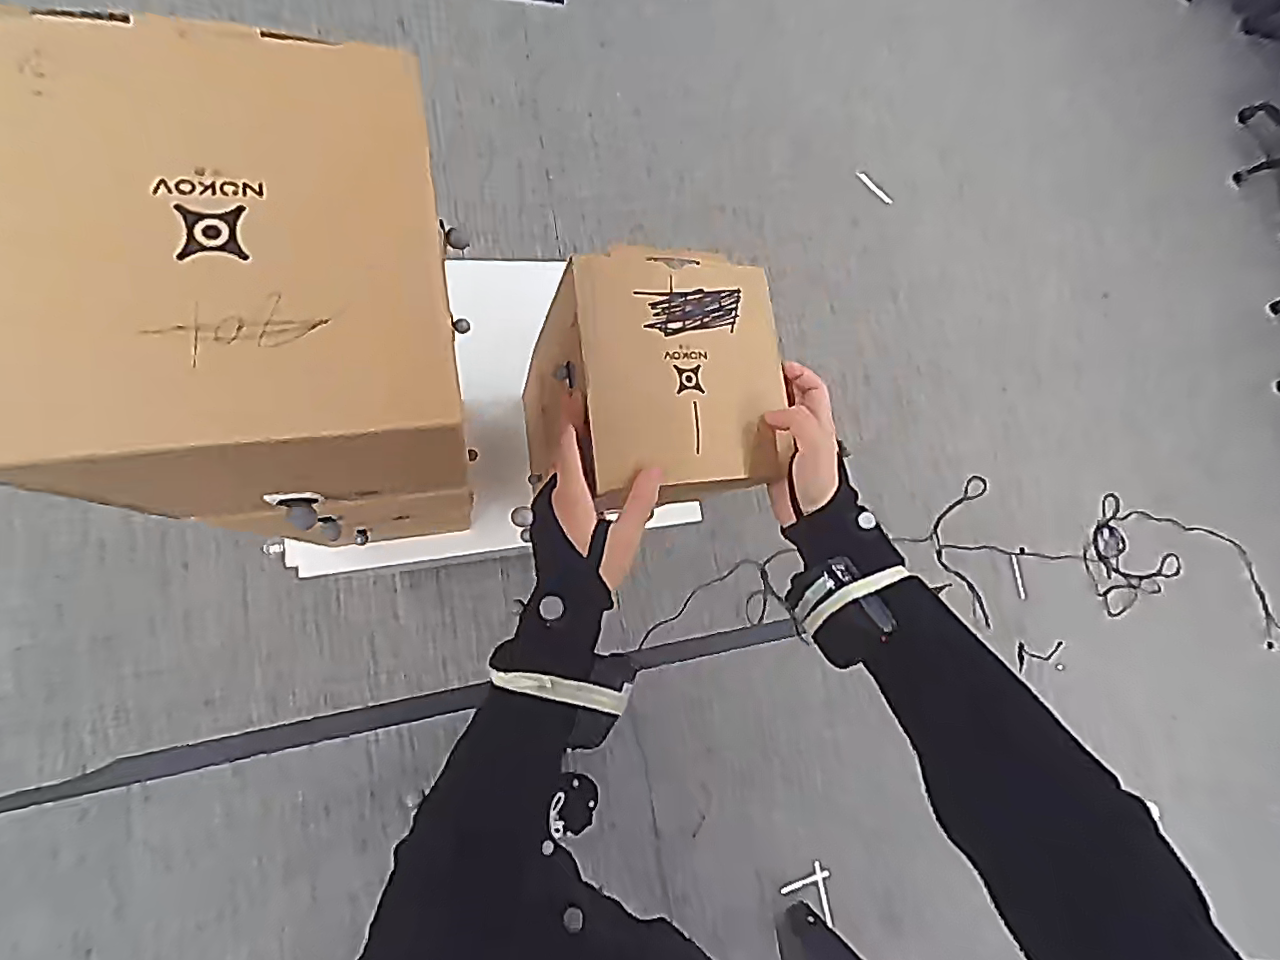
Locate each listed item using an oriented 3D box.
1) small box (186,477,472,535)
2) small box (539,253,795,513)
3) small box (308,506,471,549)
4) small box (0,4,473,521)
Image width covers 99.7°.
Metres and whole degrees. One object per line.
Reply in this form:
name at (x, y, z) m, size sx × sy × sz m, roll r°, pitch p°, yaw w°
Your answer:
small box at (-0.229, -0.053, 0.432) m, size 0.168 × 0.176 × 0.179 m, roll -8°, pitch 82°, yaw -18°
small box at (0.009, -0.071, 0.478) m, size 0.168 × 0.176 × 0.179 m, roll -5°, pitch 83°, yaw -19°
small box at (-0.276, -0.027, 0.585) m, size 0.168 × 0.176 × 0.179 m, roll -6°, pitch 81°, yaw -17°
small box at (-0.182, -0.082, 0.280) m, size 0.168 × 0.176 × 0.179 m, roll -8°, pitch 83°, yaw -17°
